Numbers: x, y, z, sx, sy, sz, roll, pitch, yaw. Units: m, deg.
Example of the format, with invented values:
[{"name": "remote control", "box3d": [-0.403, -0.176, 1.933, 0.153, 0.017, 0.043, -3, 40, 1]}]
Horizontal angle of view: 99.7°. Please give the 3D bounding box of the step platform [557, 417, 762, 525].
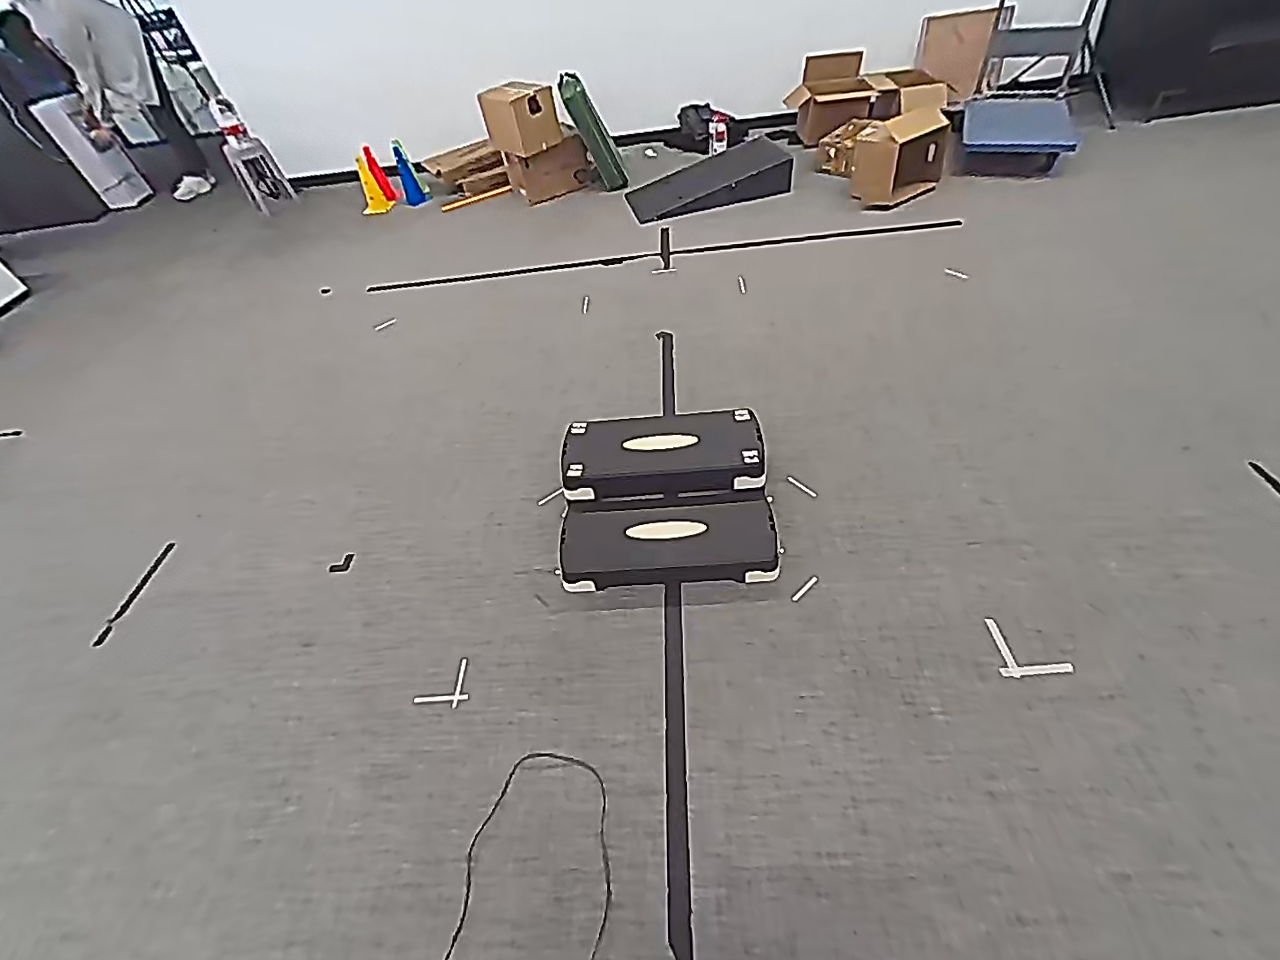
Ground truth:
[{"name": "step platform", "box3d": [0.063, -0.036, 1.838, 0.684, 0.204, 0.286, -4, 49, 4]}]
